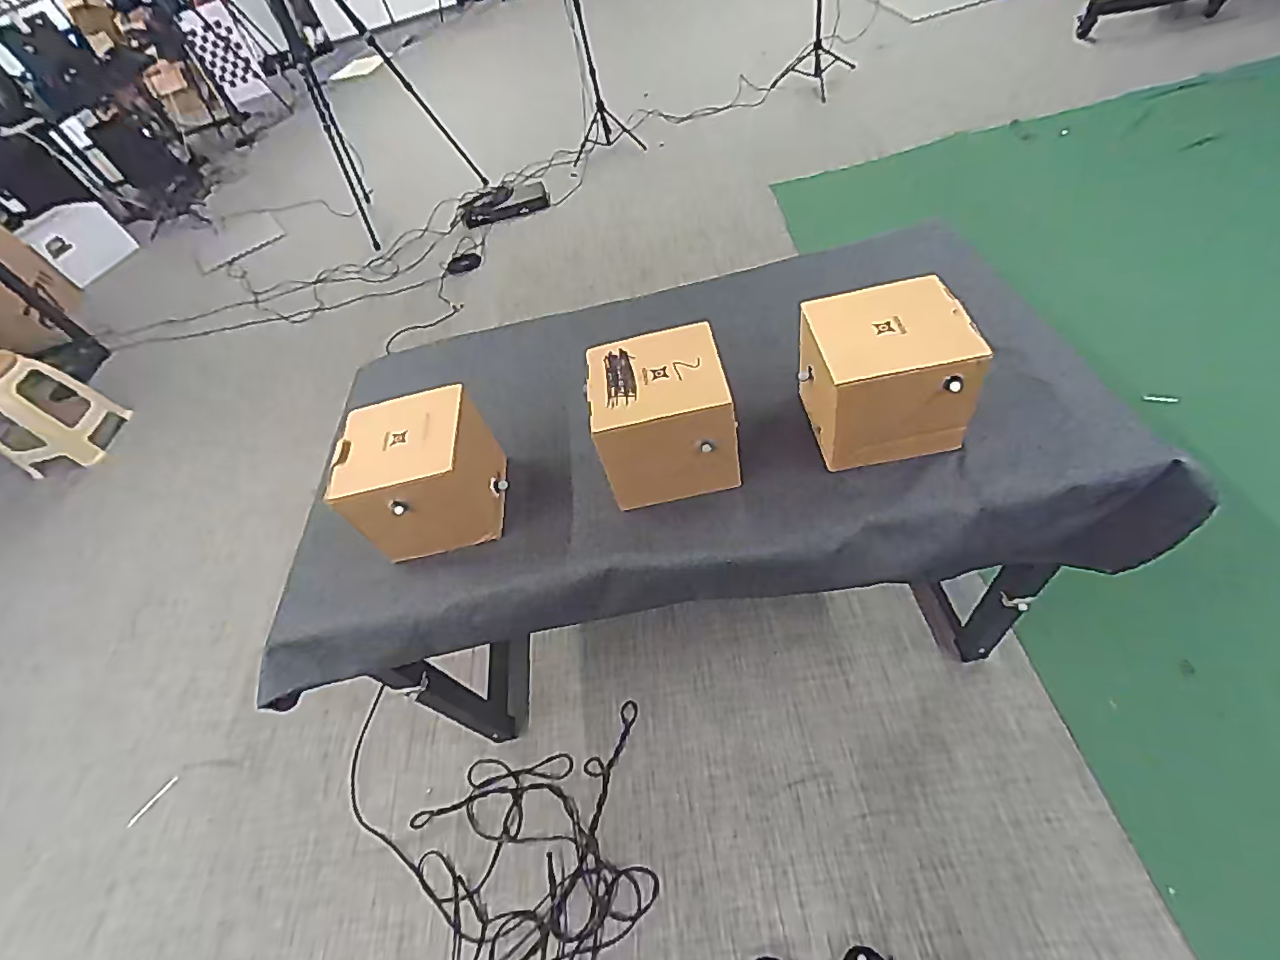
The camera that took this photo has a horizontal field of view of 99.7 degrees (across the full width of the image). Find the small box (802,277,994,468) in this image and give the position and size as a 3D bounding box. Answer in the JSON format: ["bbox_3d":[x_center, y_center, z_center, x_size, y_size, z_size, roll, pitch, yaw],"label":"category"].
[{"bbox_3d":[0.321,-0.134,0.716,0.179,0.176,0.168,-10,51,7],"label":"small box"}]

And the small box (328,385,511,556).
[{"bbox_3d":[-0.305,-0.007,0.788,0.179,0.176,0.168,-12,52,4],"label":"small box"}]
